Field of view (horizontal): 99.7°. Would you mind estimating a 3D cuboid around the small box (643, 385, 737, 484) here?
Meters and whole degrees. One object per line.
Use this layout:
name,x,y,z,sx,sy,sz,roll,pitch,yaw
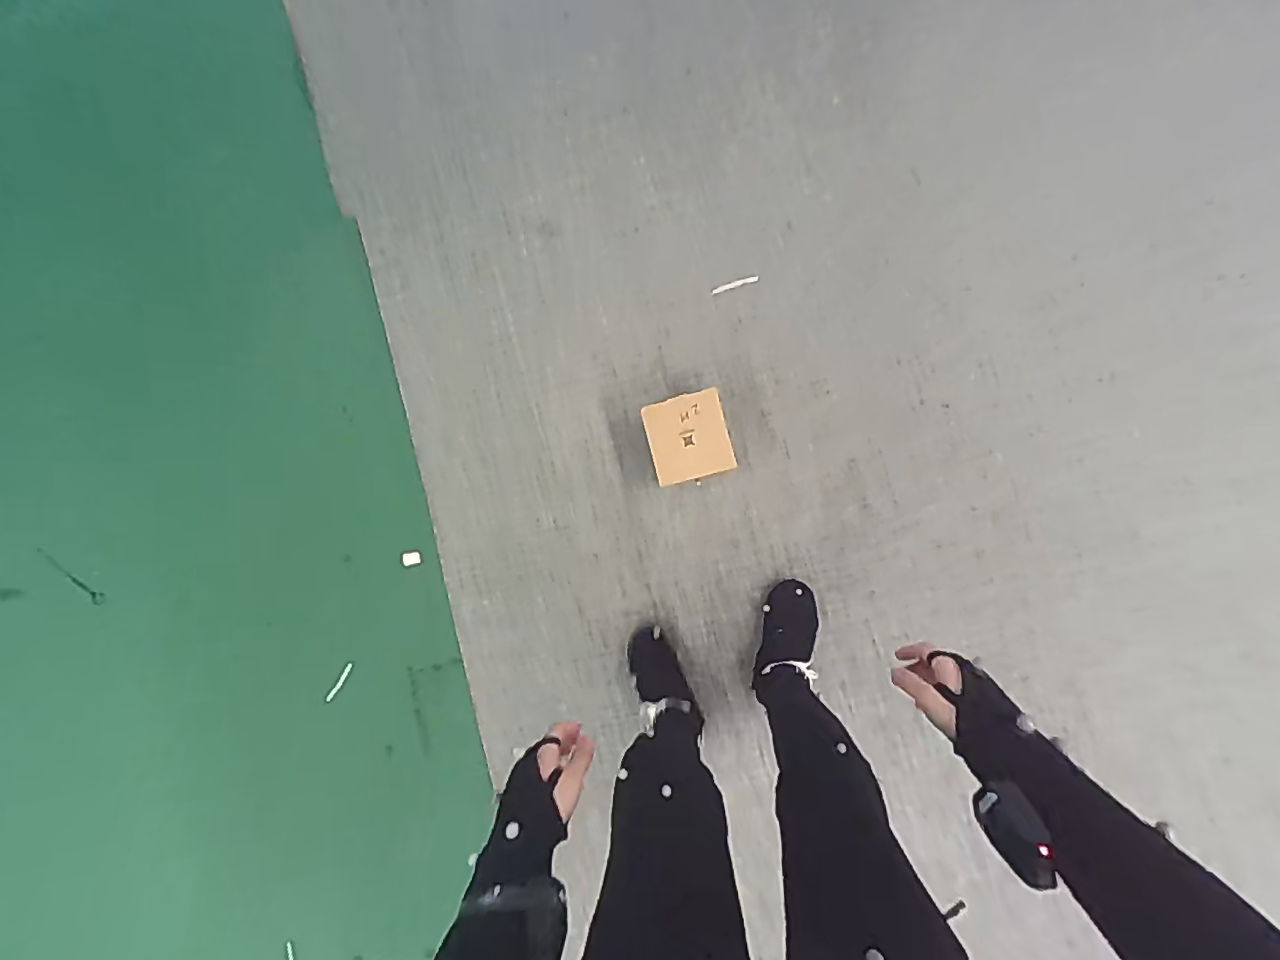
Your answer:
small box,0.115,-0.094,1.198,0.168,0.176,0.179,-15,87,7
